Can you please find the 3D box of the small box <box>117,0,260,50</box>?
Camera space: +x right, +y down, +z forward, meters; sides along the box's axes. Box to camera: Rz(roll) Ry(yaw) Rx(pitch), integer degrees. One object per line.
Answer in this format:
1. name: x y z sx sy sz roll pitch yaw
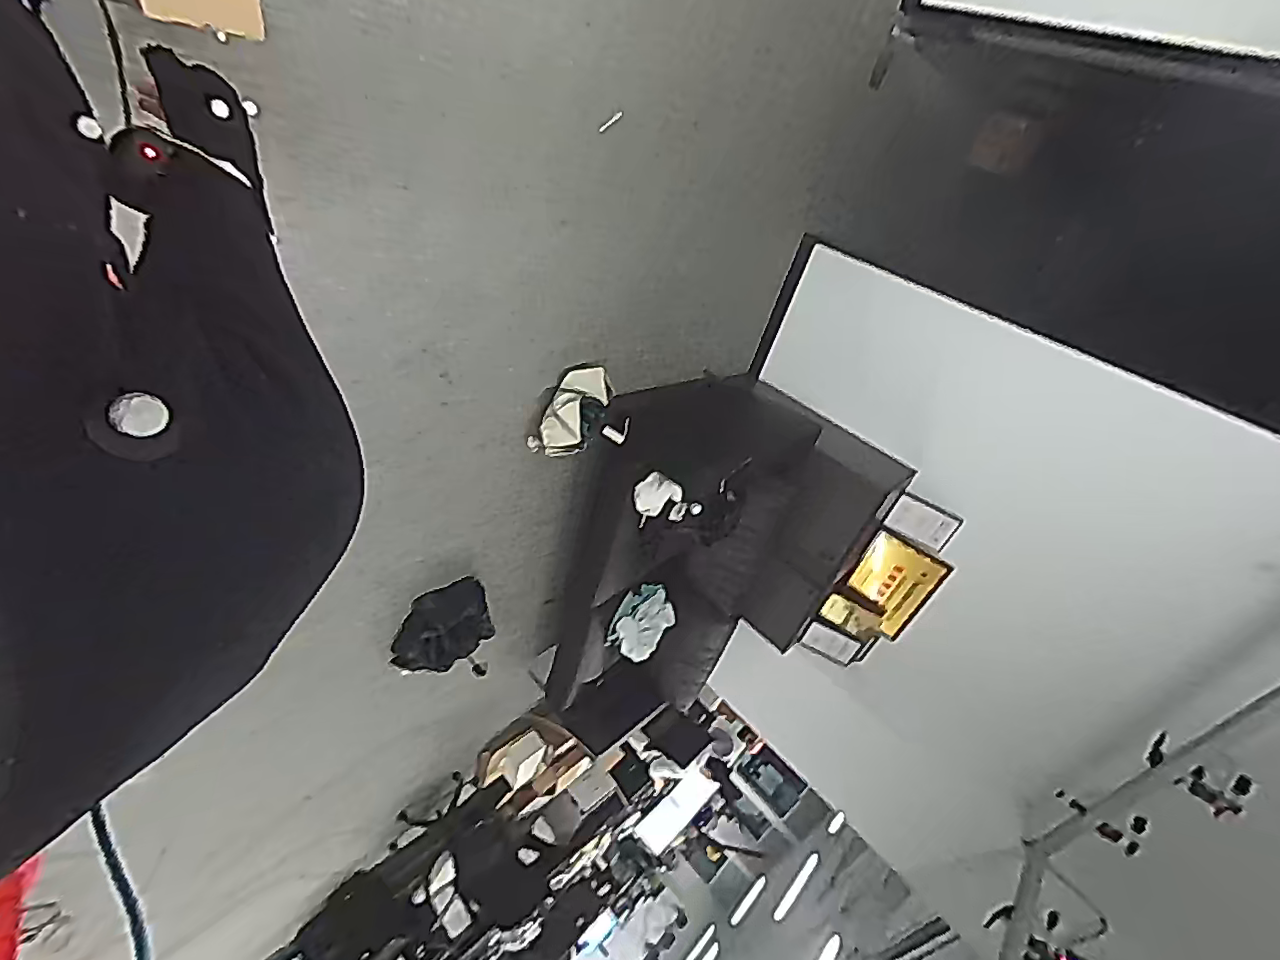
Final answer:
1. small box: -0.749 -0.837 0.872 0.168 0.176 0.179 -23 142 -42
